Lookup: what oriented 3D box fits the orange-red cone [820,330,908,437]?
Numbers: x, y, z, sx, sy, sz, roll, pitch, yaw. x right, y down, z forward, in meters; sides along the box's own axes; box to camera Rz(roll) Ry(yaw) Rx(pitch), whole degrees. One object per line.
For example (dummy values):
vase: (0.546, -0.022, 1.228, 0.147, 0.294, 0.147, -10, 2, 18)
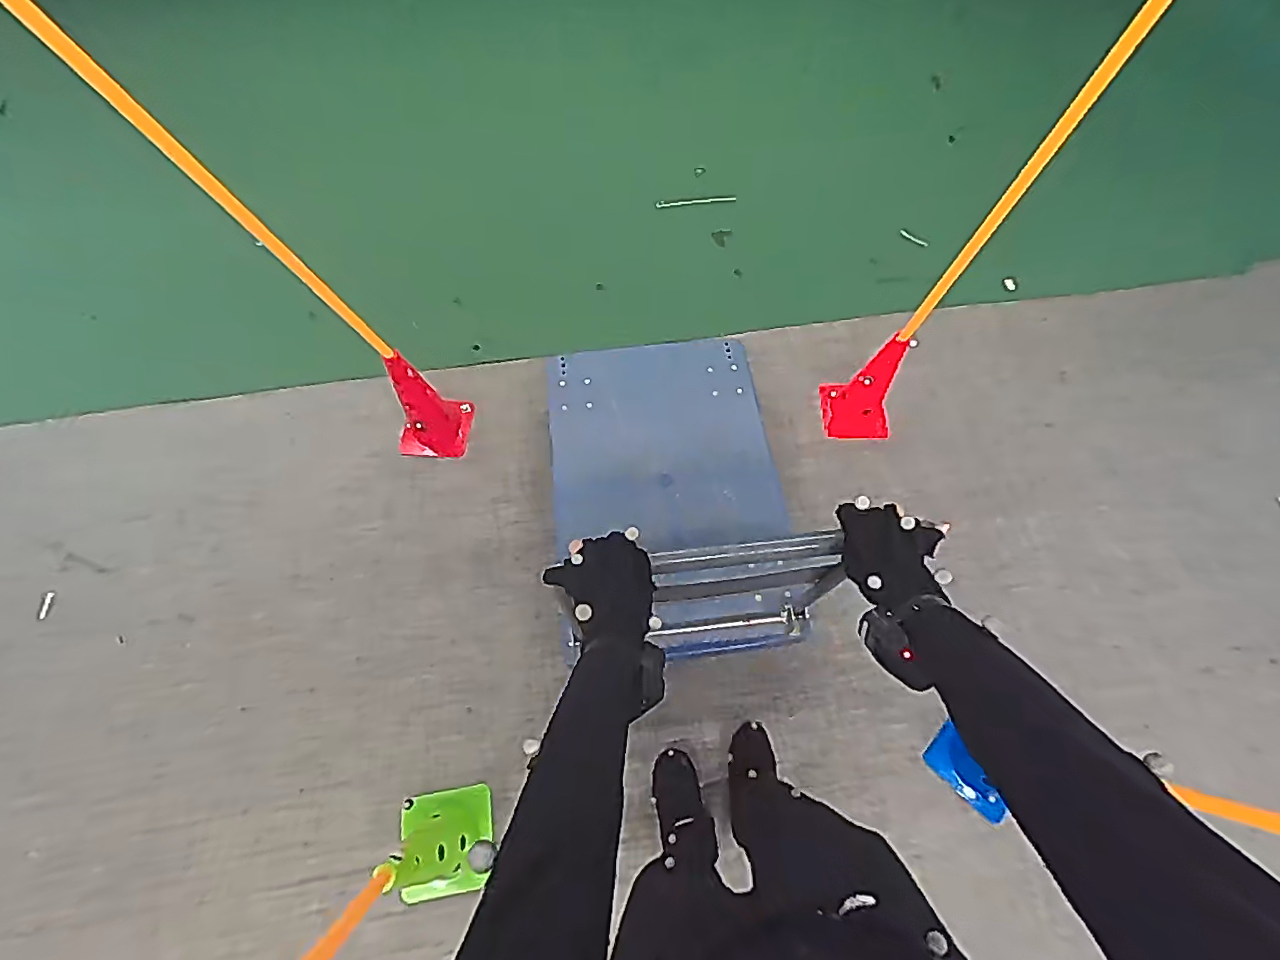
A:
orange-red cone: (0.664, -0.292, 1.529, 0.198, 0.360, 0.199, 2, 66, 1)
